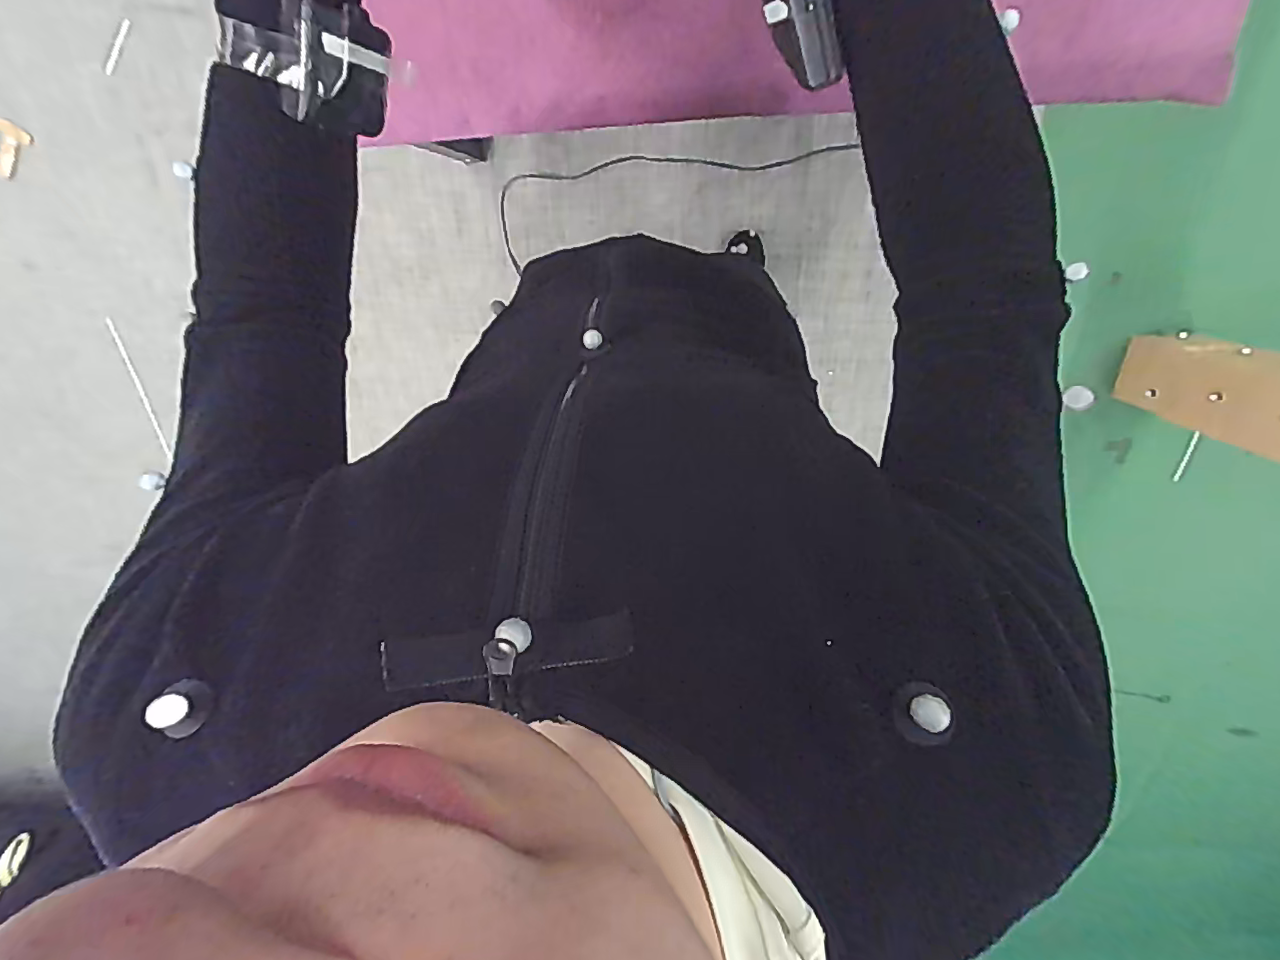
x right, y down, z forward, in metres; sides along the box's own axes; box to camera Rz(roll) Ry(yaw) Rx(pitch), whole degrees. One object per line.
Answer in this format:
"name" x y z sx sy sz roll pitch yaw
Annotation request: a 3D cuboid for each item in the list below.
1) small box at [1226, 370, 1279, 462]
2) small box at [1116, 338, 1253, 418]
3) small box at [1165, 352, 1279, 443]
"small box" 1.409 -0.133 1.133 0.168 0.176 0.179 -4 115 5
"small box" 1.420 -0.273 1.428 0.168 0.176 0.179 0 115 3
"small box" 1.415 -0.198 1.284 0.168 0.176 0.179 -3 113 4
